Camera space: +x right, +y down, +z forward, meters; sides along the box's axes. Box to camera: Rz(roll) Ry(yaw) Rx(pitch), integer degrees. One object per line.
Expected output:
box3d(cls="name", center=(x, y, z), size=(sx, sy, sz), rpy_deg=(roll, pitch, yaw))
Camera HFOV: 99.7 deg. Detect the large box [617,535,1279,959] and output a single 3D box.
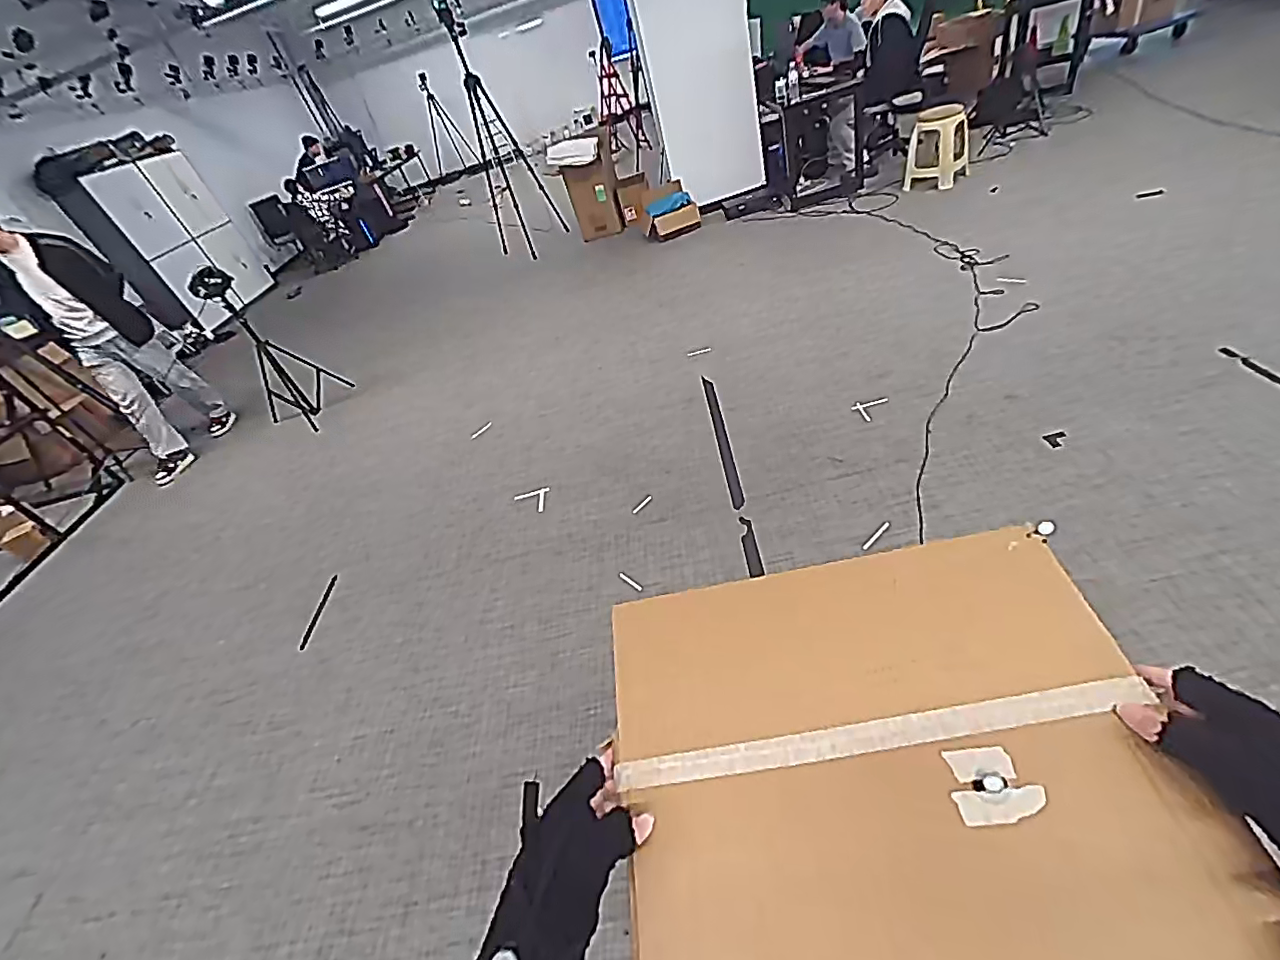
box3d(cls="large box", center=(0.215, 0.304, 0.545), size=(0.408, 0.320, 0.320), rpy_deg=(-13, 49, 6))
